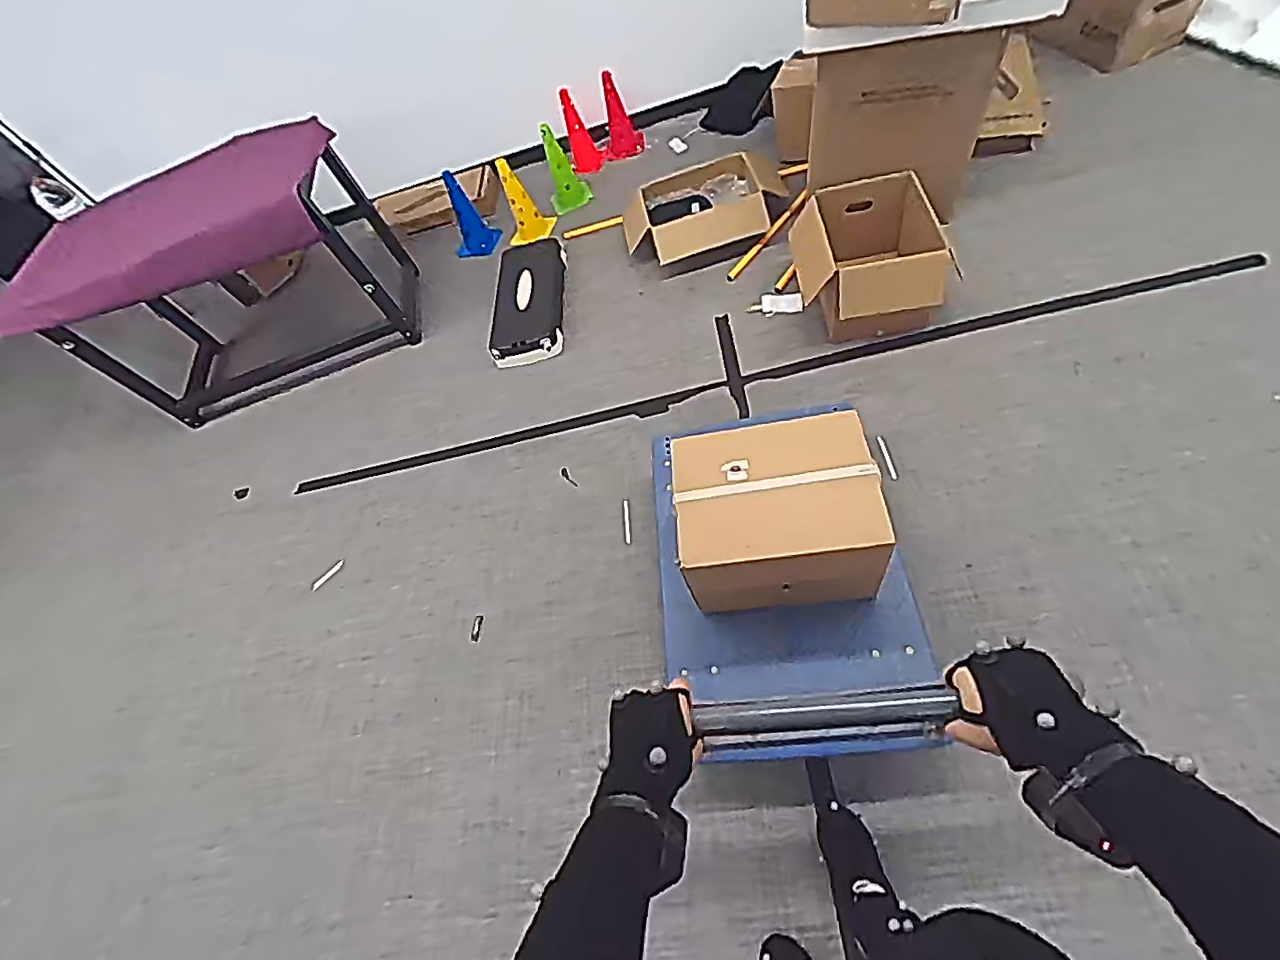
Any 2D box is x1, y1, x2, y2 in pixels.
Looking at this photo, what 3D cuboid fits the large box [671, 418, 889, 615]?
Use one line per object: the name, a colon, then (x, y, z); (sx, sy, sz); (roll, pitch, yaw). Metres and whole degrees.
large box: (0.308, 0.101, 1.247); (0.408, 0.320, 0.320); (-10, 57, 12)
